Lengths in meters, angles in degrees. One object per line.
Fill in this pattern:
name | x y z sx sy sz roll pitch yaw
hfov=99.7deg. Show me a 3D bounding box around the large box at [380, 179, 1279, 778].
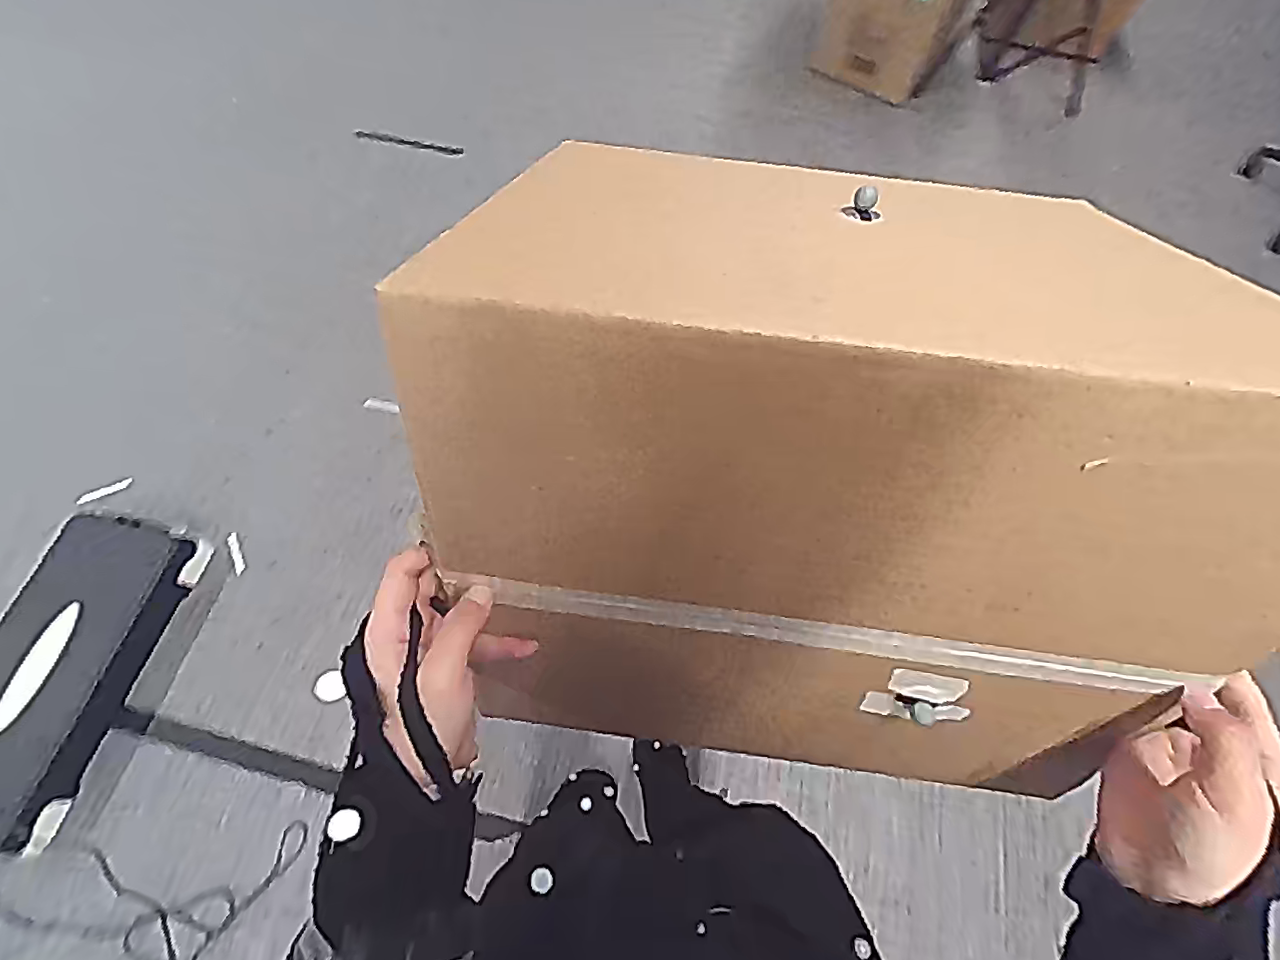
large box | 0.100 -0.017 0.406 0.408 0.320 0.320 5 41 1
